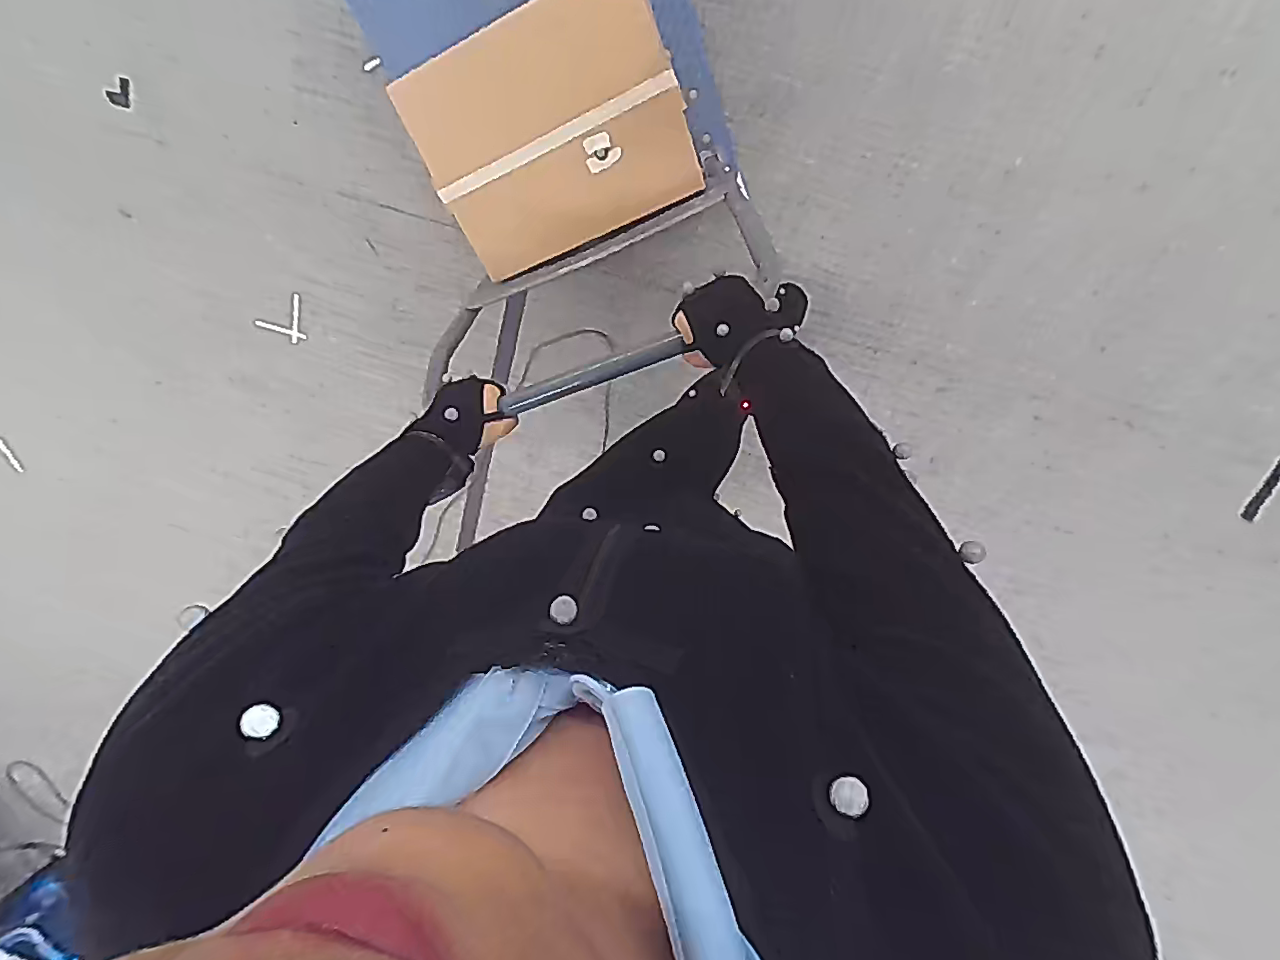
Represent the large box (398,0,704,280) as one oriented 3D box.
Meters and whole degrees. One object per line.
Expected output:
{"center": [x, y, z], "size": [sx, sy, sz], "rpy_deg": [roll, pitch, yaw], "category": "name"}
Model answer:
{"center": [-0.132, -0.623, 0.977], "size": [0.408, 0.320, 0.320], "rpy_deg": [-19, 123, 14], "category": "large box"}
